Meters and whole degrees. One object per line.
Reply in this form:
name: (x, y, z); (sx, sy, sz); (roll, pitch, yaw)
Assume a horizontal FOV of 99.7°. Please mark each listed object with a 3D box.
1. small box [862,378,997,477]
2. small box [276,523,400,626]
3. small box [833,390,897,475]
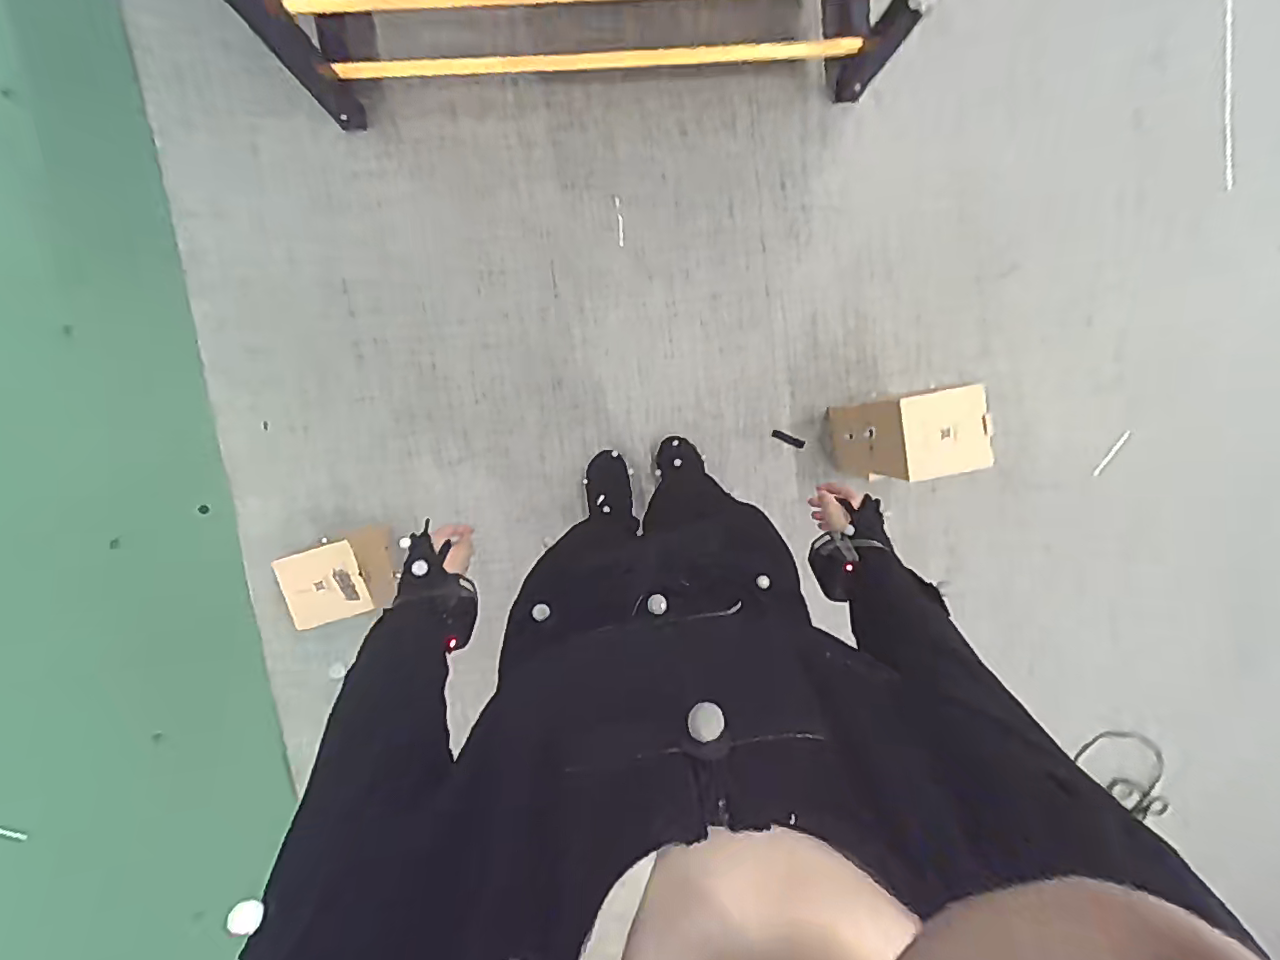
small box: (0.590, -0.110, 1.118); (0.179, 0.176, 0.168); (-12, 96, -2)
small box: (-0.675, 0.208, 1.240); (0.179, 0.176, 0.168); (-16, 97, -1)
small box: (0.576, -0.117, 1.281); (0.168, 0.176, 0.179); (-12, 97, -2)
